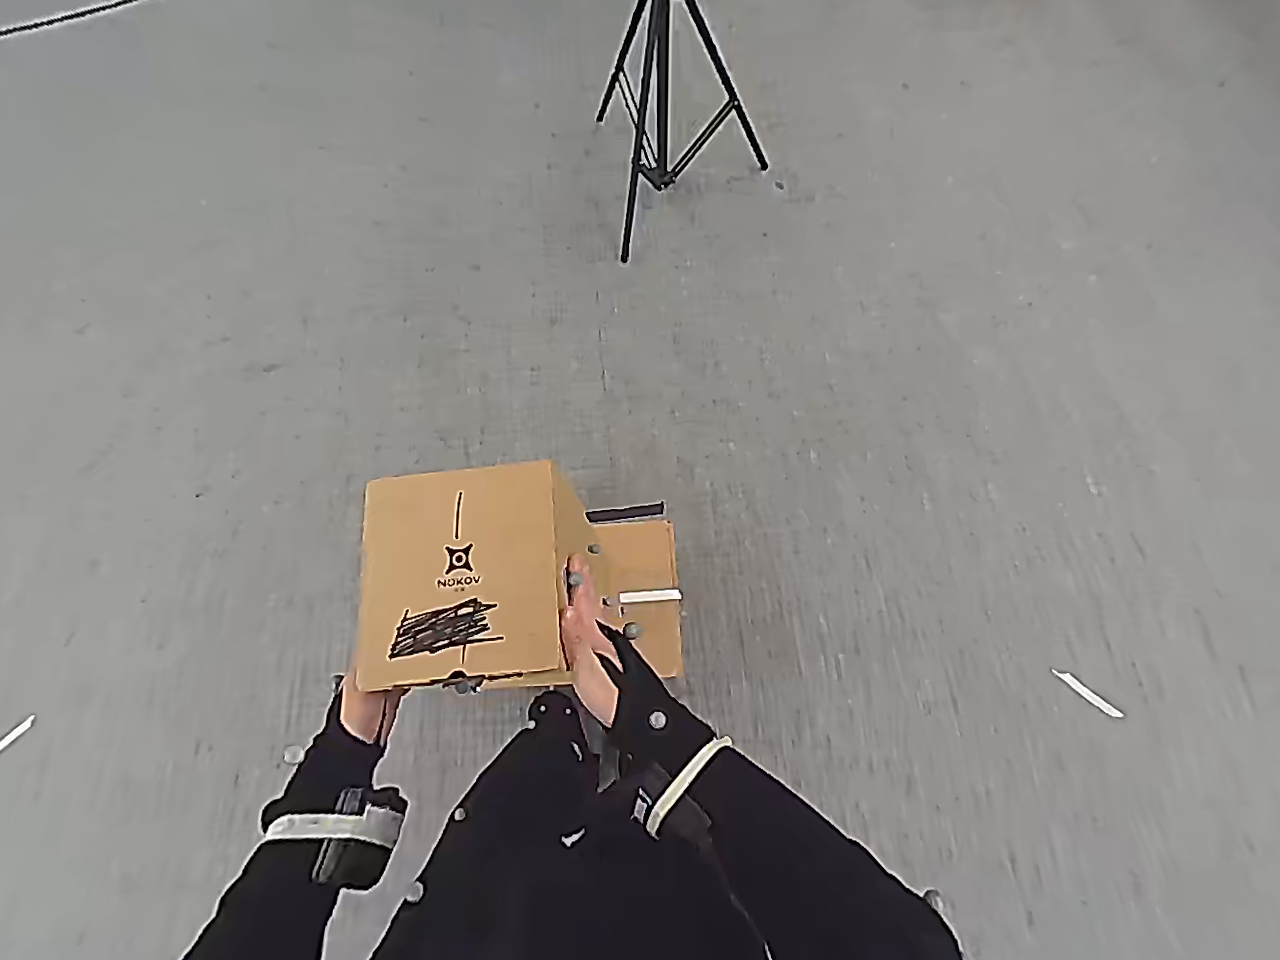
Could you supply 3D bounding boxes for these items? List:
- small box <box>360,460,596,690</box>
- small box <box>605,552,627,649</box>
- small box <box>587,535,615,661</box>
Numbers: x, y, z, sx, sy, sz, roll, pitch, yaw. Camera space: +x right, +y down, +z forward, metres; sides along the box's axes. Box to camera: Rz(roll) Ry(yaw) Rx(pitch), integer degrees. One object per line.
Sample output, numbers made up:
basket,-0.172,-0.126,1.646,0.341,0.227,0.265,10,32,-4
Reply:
small box,-0.140,0.096,0.520,0.168,0.176,0.179,-7,72,3
small box,-0.122,0.235,0.997,0.179,0.176,0.168,-7,73,-1
small box,-0.131,0.194,0.840,0.168,0.176,0.179,-6,73,0
